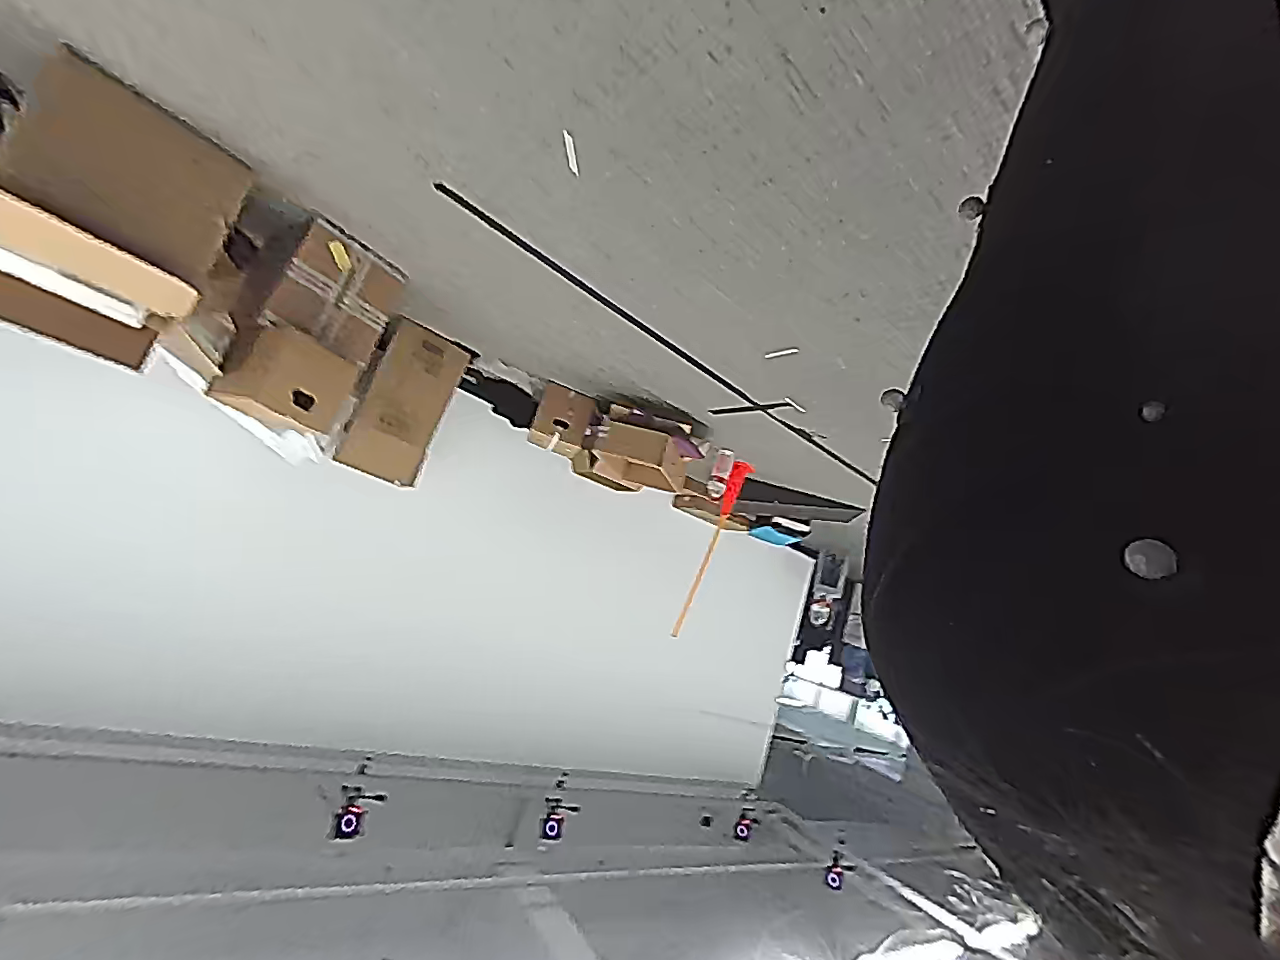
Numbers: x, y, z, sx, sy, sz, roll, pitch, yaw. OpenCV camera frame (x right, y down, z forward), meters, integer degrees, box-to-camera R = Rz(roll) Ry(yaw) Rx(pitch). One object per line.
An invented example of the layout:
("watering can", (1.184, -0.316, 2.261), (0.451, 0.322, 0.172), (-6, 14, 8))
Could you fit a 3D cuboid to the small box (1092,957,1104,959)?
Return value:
("small box", (1.418, 1.550, 1.583), (0.179, 0.176, 0.168), (26, 166, -34))
